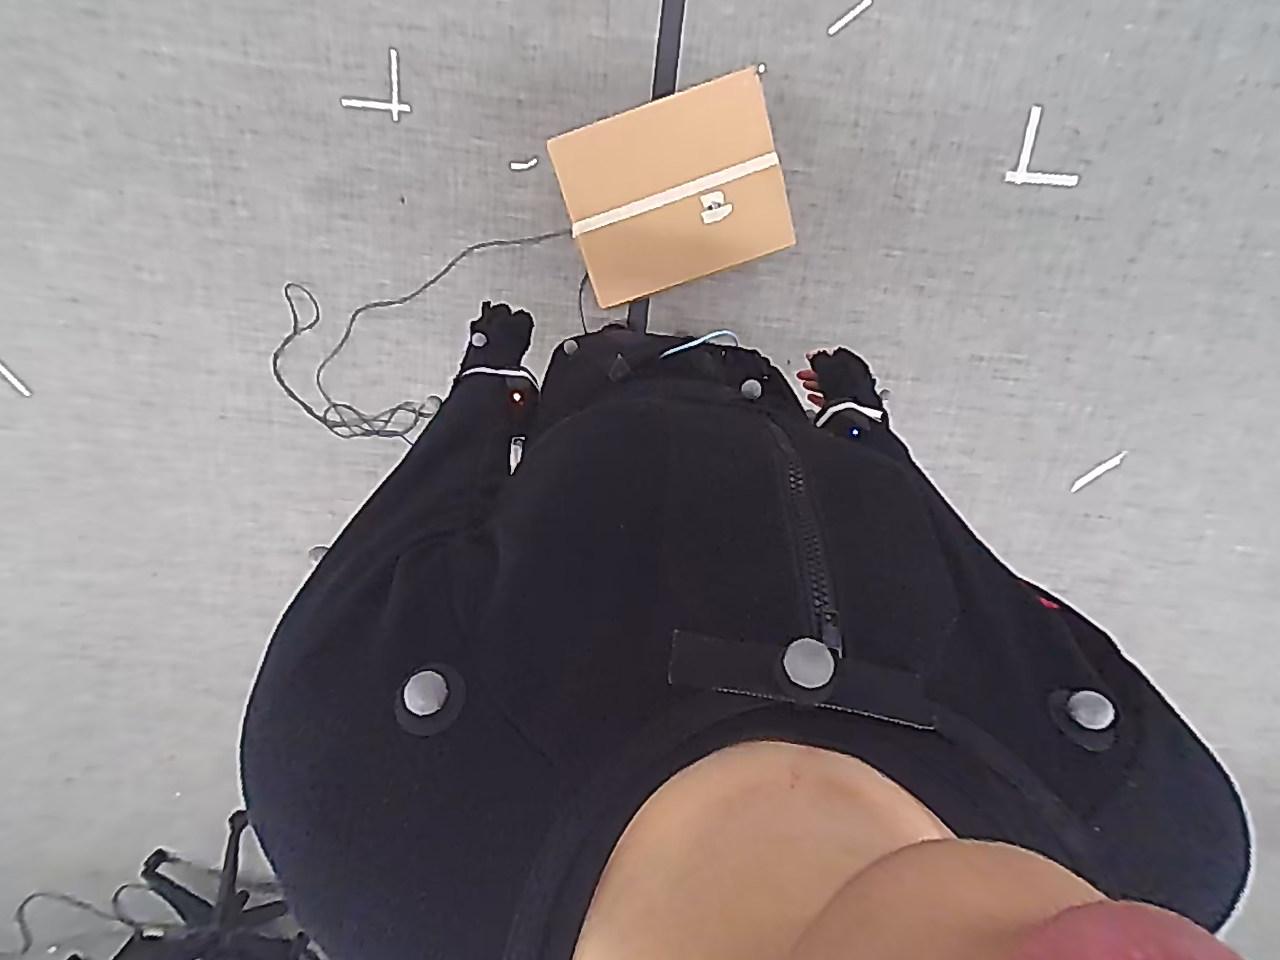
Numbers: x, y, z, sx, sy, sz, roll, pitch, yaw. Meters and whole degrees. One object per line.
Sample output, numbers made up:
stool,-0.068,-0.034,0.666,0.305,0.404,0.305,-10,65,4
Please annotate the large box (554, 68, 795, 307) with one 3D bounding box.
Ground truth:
large box,0.067,-0.590,1.173,0.408,0.320,0.320,-17,108,3
